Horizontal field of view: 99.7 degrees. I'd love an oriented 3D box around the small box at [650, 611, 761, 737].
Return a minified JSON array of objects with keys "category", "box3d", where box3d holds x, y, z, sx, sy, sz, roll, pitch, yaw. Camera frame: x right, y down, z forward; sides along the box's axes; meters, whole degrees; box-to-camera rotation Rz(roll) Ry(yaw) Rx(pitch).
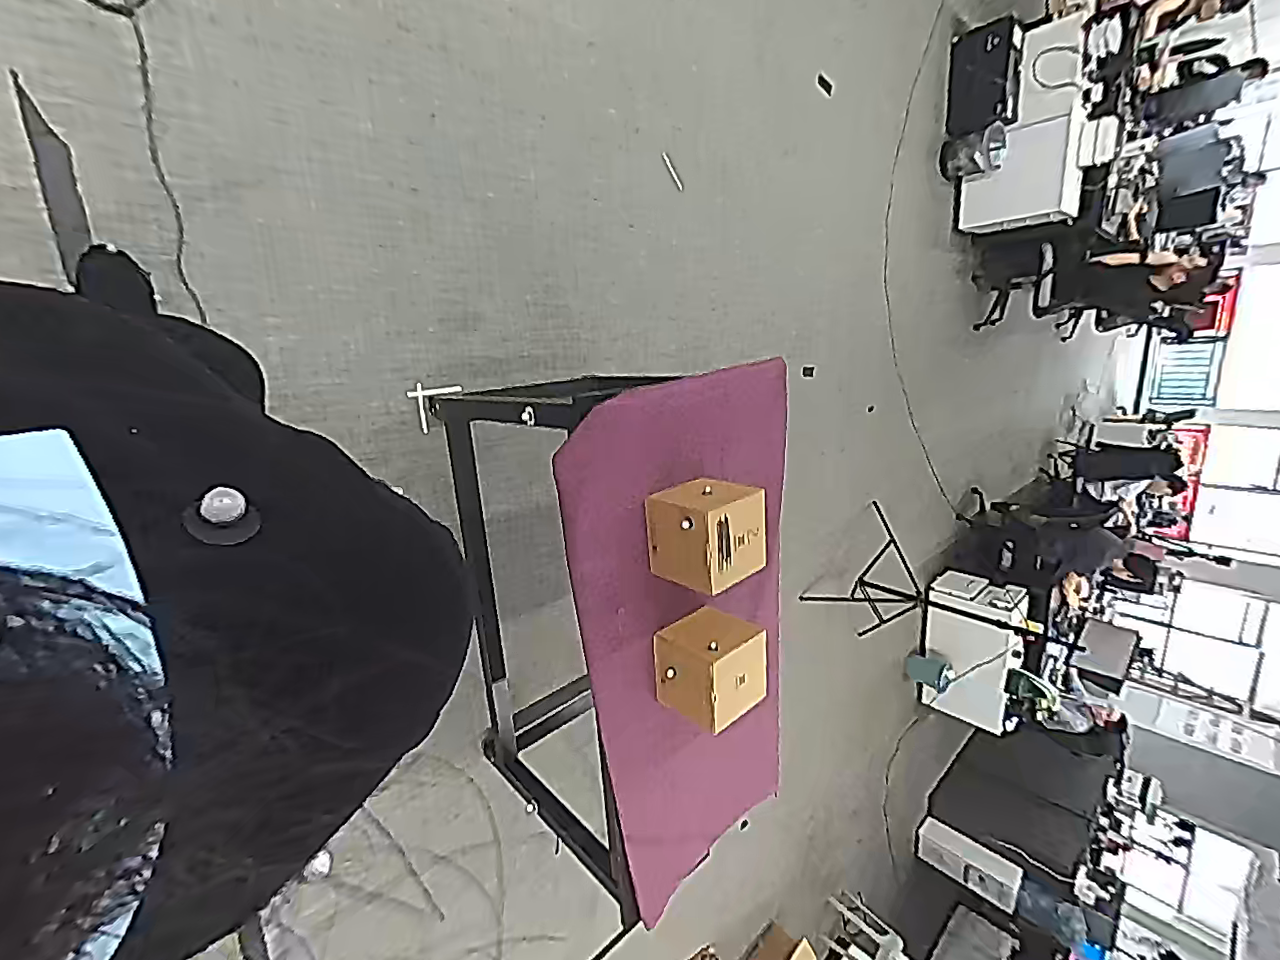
[{"category":"small box","box3d":[0.141,0.404,1.167,0.179,0.176,0.168,-16,108,-39]}]
